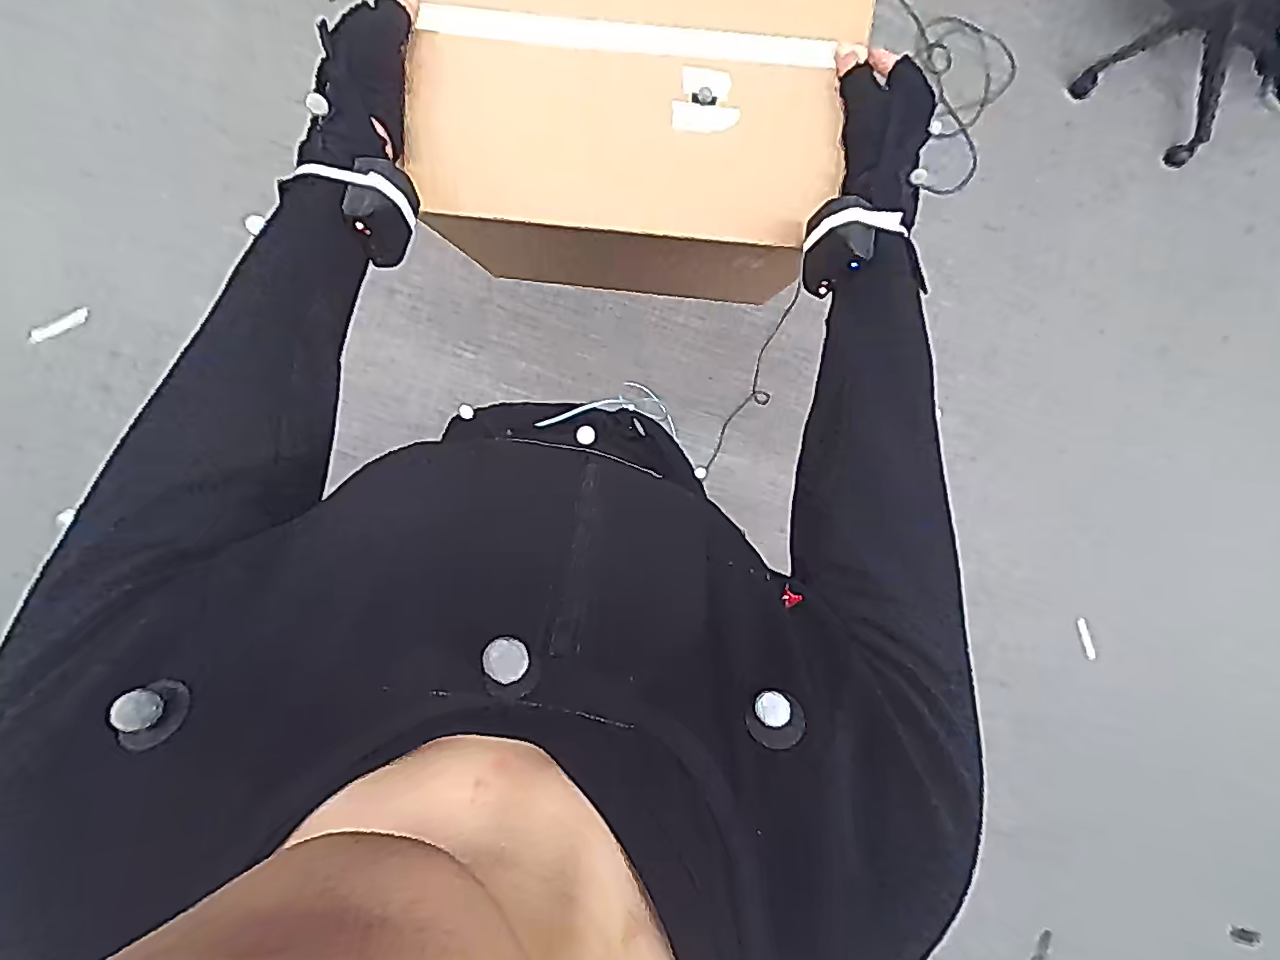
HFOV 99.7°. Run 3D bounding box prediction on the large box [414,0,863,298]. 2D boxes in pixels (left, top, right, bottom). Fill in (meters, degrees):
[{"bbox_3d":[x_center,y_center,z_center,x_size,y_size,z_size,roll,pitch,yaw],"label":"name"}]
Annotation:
[{"bbox_3d":[-0.006,-0.409,0.632,0.408,0.320,0.320,5,100,-1],"label":"large box"}]
